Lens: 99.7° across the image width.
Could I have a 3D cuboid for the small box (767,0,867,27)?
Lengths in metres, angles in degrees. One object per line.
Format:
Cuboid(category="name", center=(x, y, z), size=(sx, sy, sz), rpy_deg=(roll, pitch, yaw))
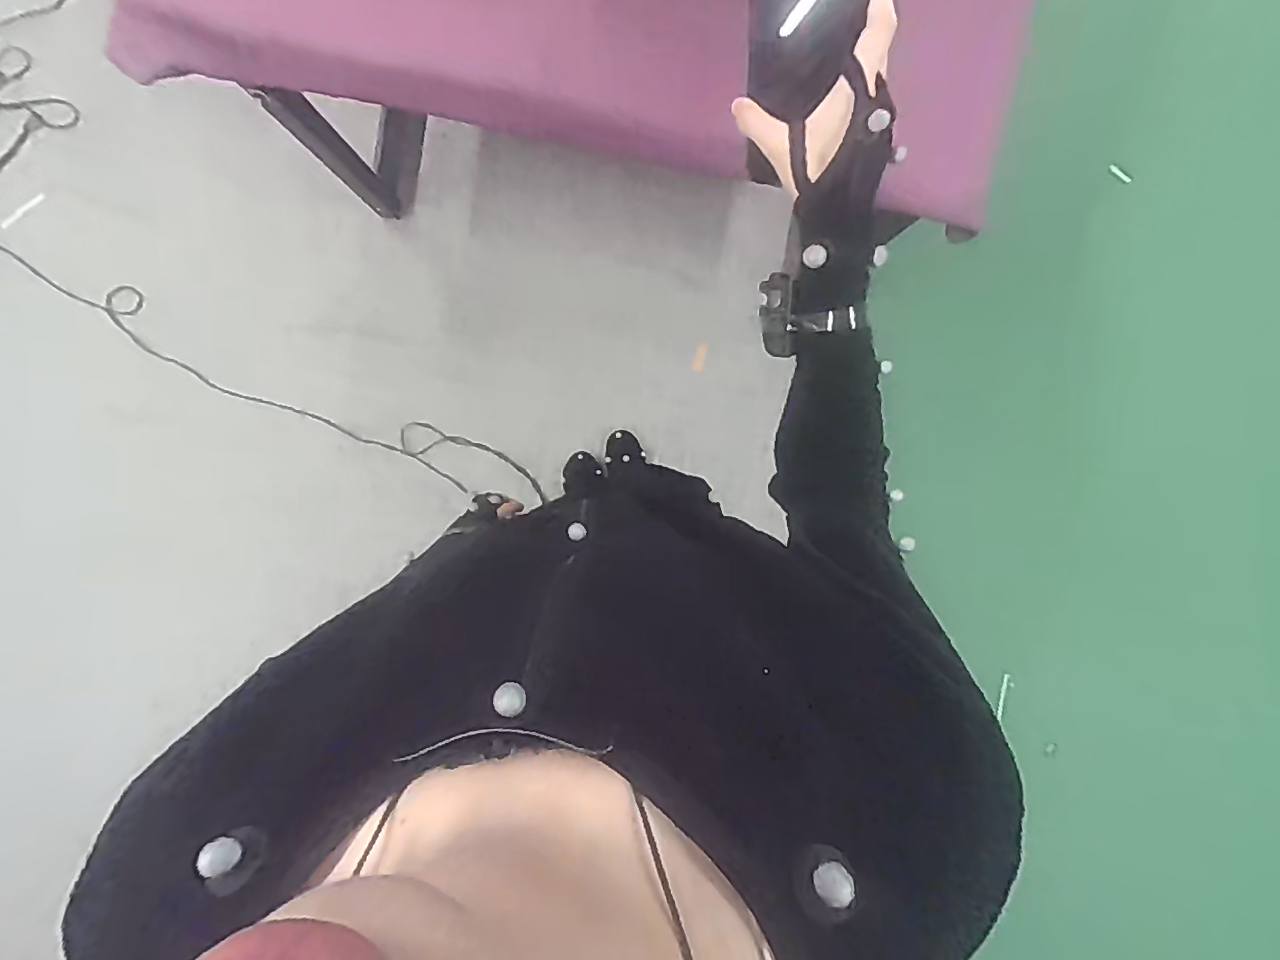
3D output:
Cuboid(category="small box", center=(0.243, -0.721, 0.669), size=(0.179, 0.176, 0.168), rpy_deg=(19, 93, -3))
